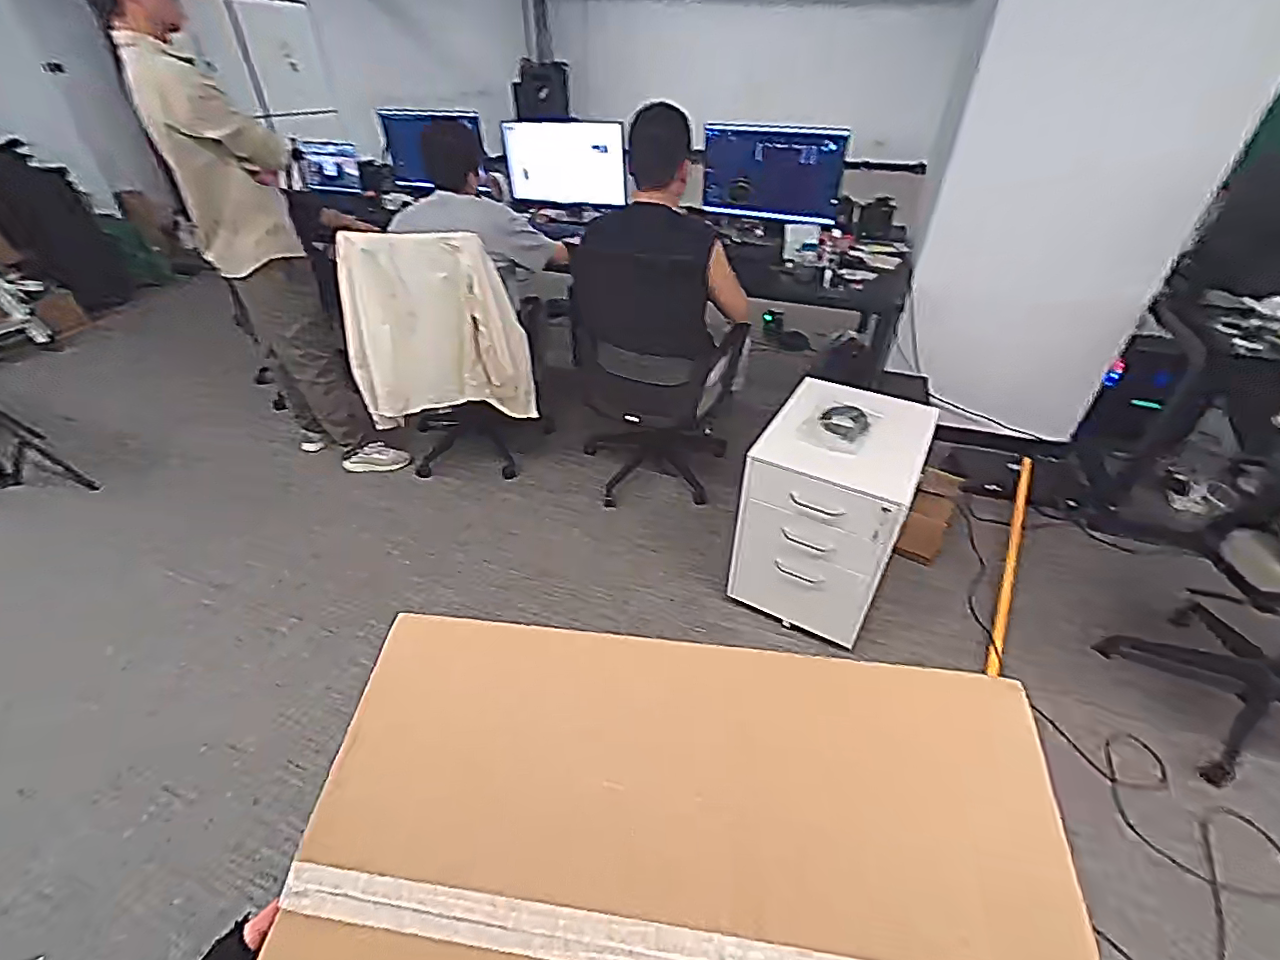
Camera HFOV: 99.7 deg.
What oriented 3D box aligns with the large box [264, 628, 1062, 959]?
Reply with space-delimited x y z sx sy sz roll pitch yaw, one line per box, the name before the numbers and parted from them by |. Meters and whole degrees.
large box | 0.014 0.326 0.394 0.408 0.320 0.320 3 55 8
